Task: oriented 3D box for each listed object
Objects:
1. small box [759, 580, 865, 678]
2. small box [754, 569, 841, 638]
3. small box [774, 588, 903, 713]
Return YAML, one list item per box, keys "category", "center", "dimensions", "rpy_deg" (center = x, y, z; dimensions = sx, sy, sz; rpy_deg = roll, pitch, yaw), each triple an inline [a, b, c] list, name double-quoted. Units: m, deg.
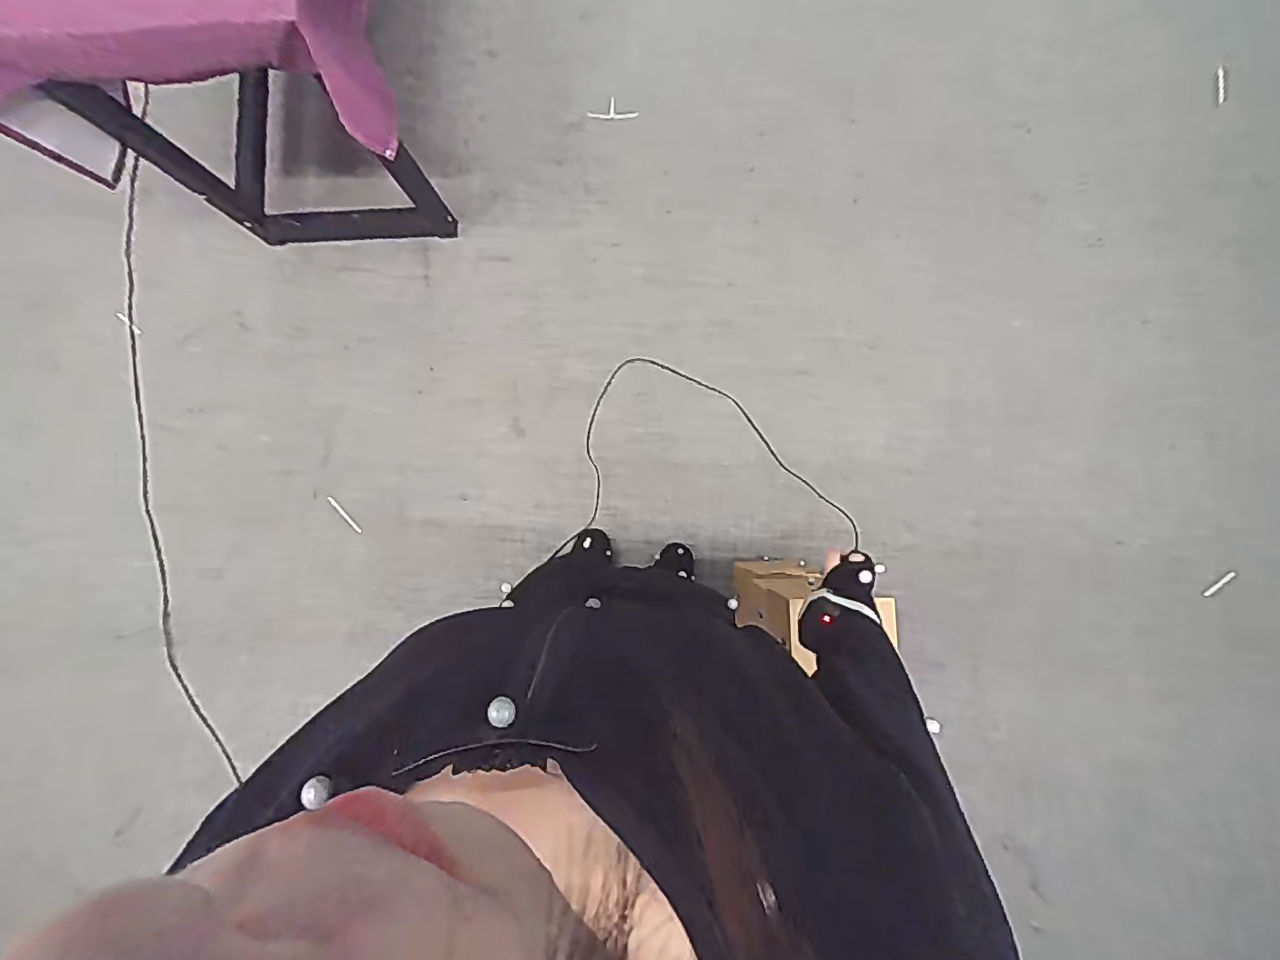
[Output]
- category: "small box"
  center: [0.338, 0.293, 1.083]
  dimensions: [0.179, 0.176, 0.168]
  rpy_deg: [-1, 86, 2]
- category: "small box"
  center: [0.359, 0.298, 1.245]
  dimensions: [0.168, 0.176, 0.179]
  rpy_deg: [-2, 87, 3]
- category: "small box"
  center: [0.326, 0.278, 0.919]
  dimensions: [0.168, 0.176, 0.179]
  rpy_deg: [0, 86, 3]
